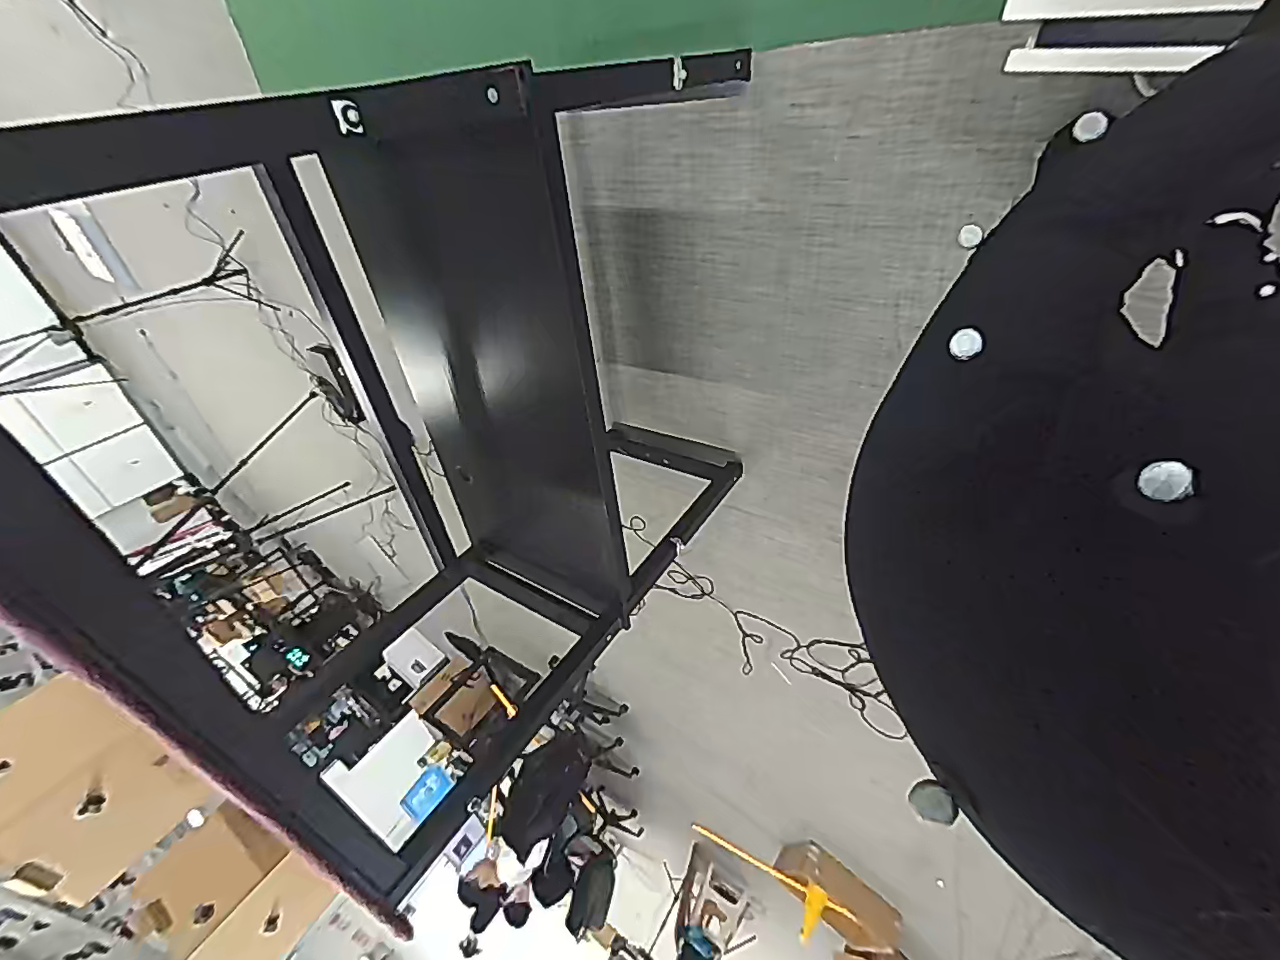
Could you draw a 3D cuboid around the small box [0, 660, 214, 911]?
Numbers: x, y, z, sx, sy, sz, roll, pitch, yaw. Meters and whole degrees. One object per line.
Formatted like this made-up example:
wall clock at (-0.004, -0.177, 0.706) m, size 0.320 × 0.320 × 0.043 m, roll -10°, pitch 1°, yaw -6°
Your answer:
small box at (-0.662, 0.351, 0.647) m, size 0.179 × 0.176 × 0.168 m, roll 20°, pitch 133°, yaw 29°
